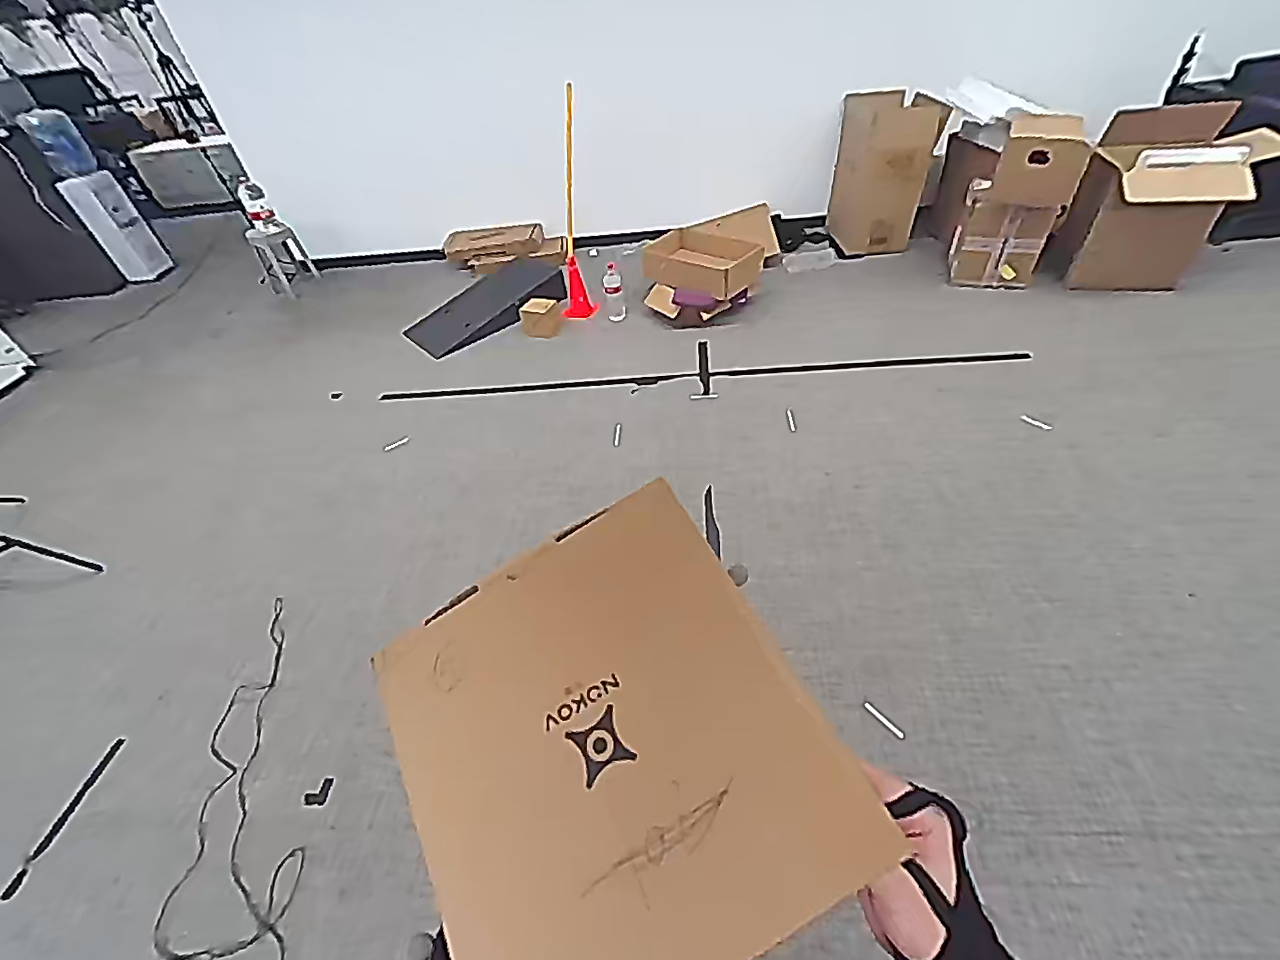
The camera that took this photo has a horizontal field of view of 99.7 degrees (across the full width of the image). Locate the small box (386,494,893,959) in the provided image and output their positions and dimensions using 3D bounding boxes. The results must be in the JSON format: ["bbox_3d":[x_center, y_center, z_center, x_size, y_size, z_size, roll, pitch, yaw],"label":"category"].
[{"bbox_3d":[0.001,0.144,0.302,0.168,0.176,0.179,-33,63,-1],"label":"small box"}]
